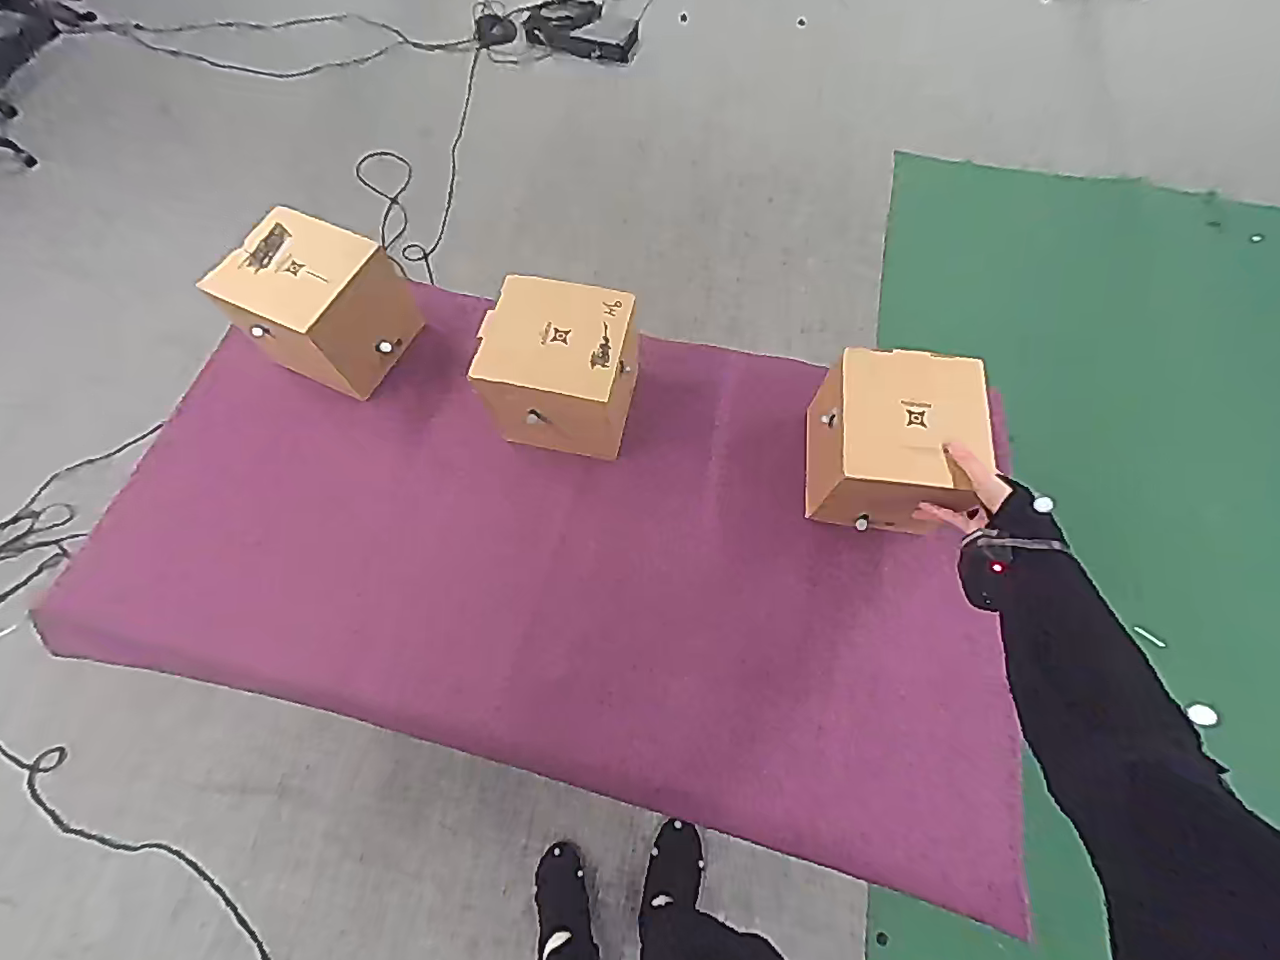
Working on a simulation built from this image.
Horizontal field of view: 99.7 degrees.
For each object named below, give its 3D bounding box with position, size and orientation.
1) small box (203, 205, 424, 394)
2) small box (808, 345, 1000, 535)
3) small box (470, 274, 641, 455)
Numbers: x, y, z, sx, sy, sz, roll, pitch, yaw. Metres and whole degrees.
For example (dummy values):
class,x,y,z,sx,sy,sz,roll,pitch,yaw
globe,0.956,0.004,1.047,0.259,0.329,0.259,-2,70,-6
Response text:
class,x,y,z,sx,sy,sz,roll,pitch,yaw
small box,-0.453,-0.251,0.782,0.179,0.176,0.168,23,69,9
small box,0.319,-0.044,0.689,0.168,0.176,0.179,7,69,4
small box,-0.100,-0.149,0.738,0.179,0.176,0.168,11,68,6
